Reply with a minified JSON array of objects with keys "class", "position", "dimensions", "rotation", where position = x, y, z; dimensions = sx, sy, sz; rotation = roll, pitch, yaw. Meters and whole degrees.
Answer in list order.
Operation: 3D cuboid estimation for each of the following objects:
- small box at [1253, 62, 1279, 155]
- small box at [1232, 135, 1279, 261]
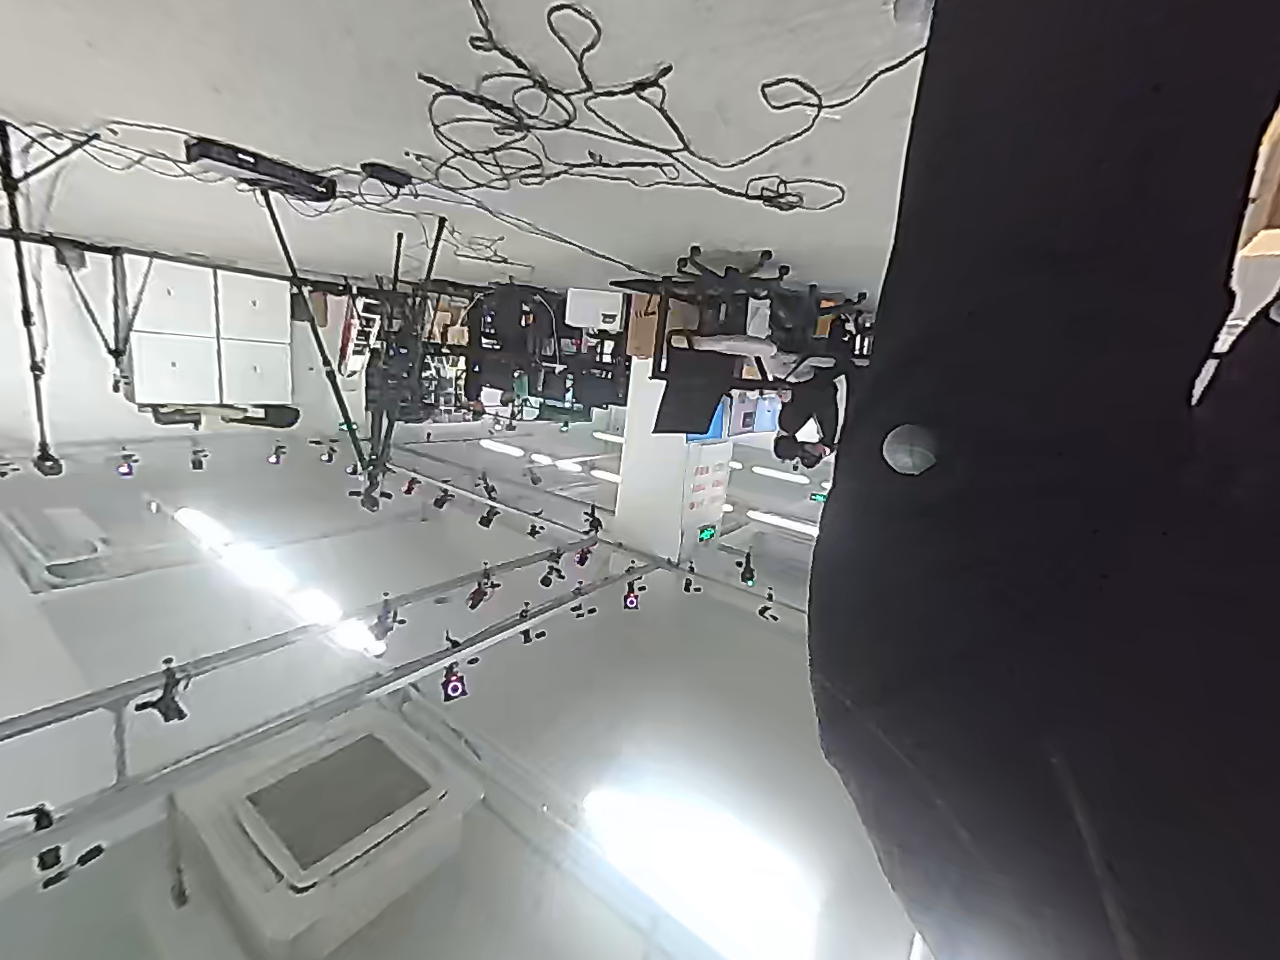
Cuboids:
[{"class":"small box","position":[1.039,-0.593,0.764],"dimensions":[0.179,0.176,0.168],"rotation":[15,-165,37]},{"class":"small box","position":[1.033,-0.432,0.796],"dimensions":[0.168,0.176,0.179],"rotation":[15,-166,38]}]
